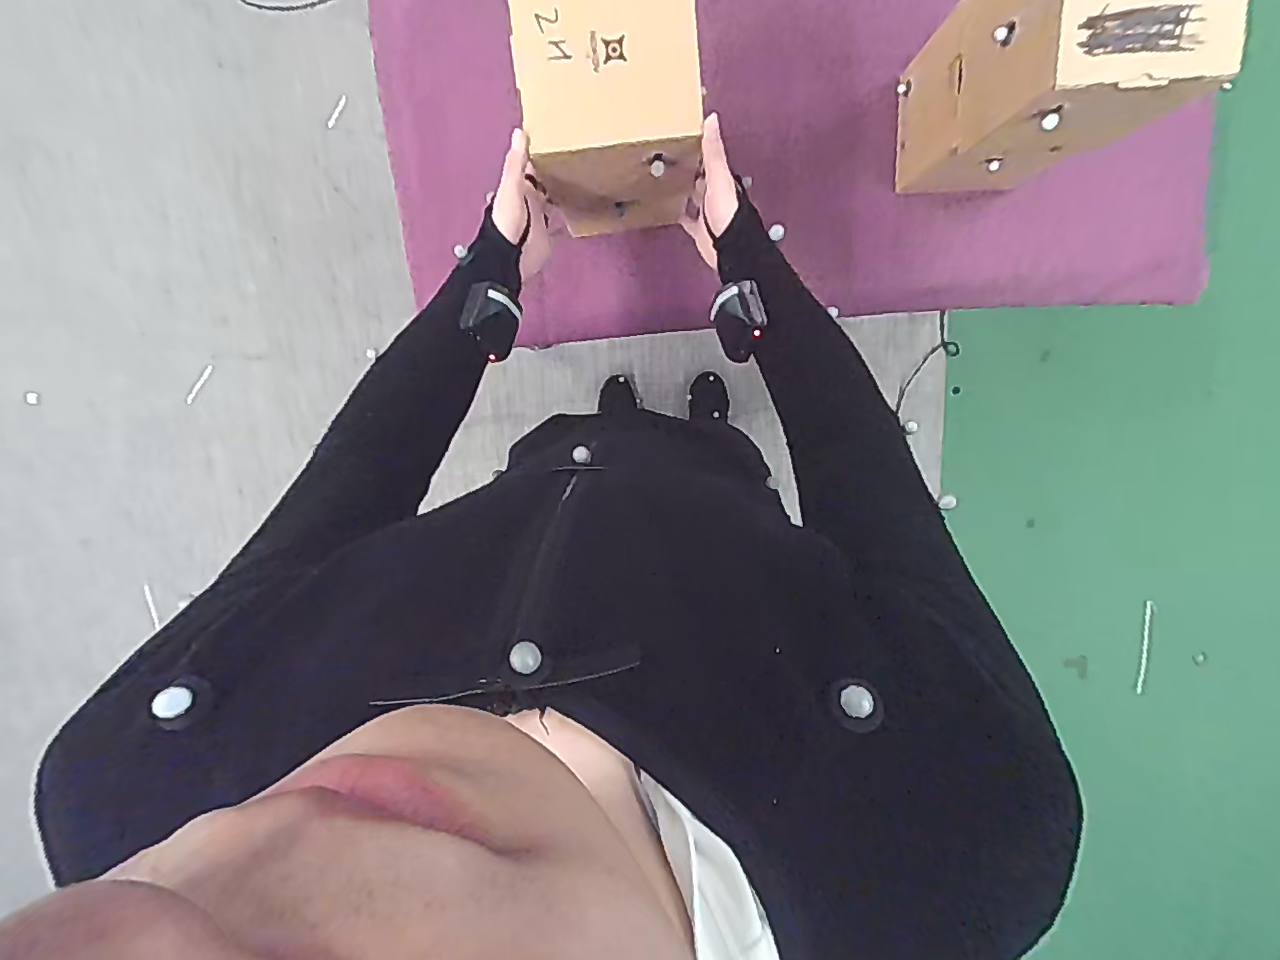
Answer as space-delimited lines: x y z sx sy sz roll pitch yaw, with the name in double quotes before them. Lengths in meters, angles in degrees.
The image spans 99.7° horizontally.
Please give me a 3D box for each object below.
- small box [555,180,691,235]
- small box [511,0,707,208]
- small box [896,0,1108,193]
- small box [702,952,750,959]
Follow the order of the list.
"small box" -0.029 -0.452 0.746 0.179 0.176 0.168 -6 100 3
"small box" -0.028 -0.413 0.586 0.179 0.176 0.168 -5 100 2
"small box" 0.467 -0.502 0.727 0.179 0.176 0.168 -2 100 1
"small box" 0.296 1.778 1.862 0.179 0.176 0.168 5 100 0
